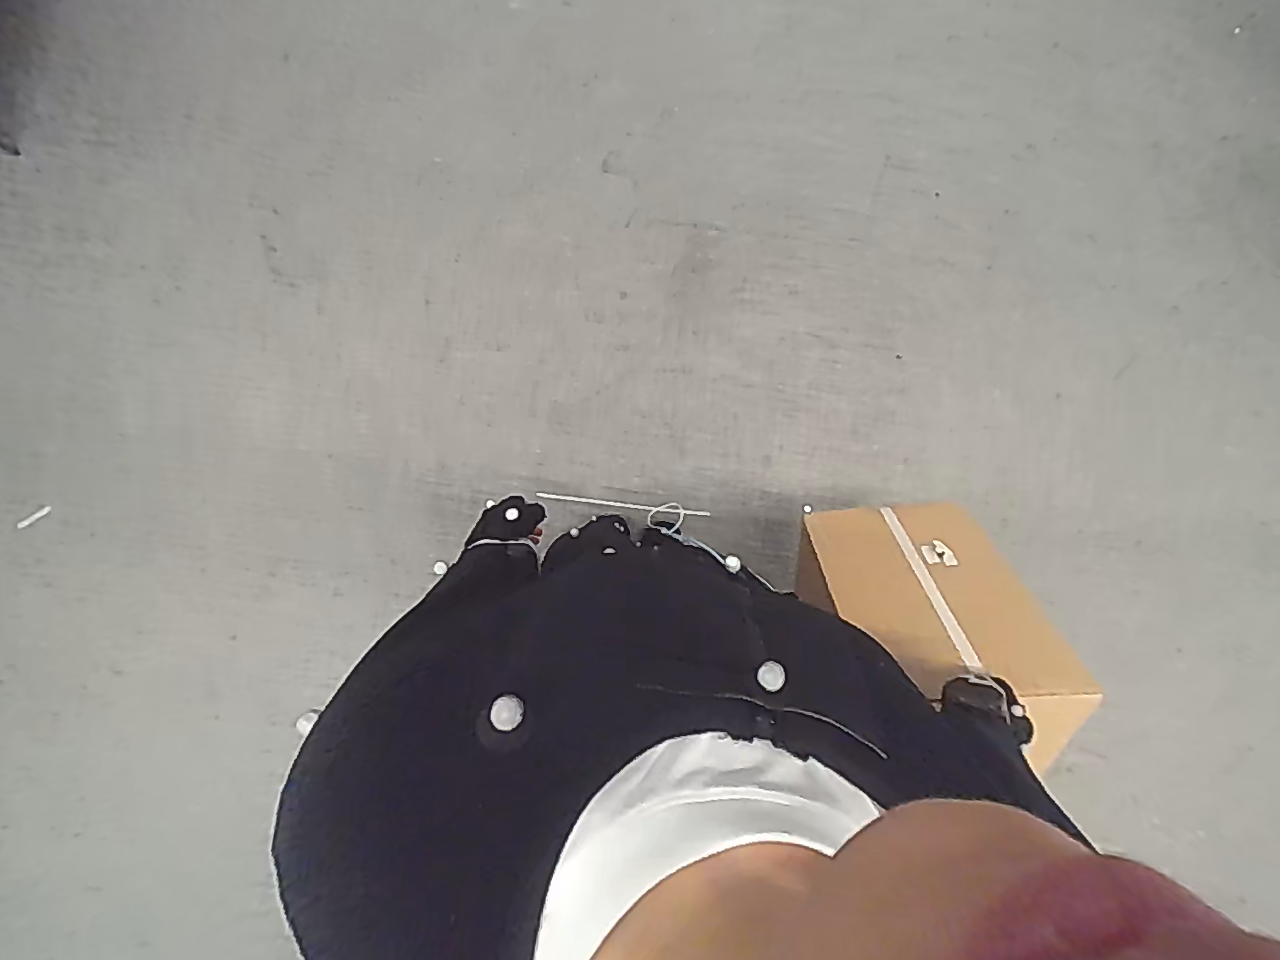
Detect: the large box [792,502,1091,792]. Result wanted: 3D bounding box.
[{"bbox_3d":[0.483,0.291,0.991,0.320,0.408,0.320,-3,126,3],"label":"large box"}]
